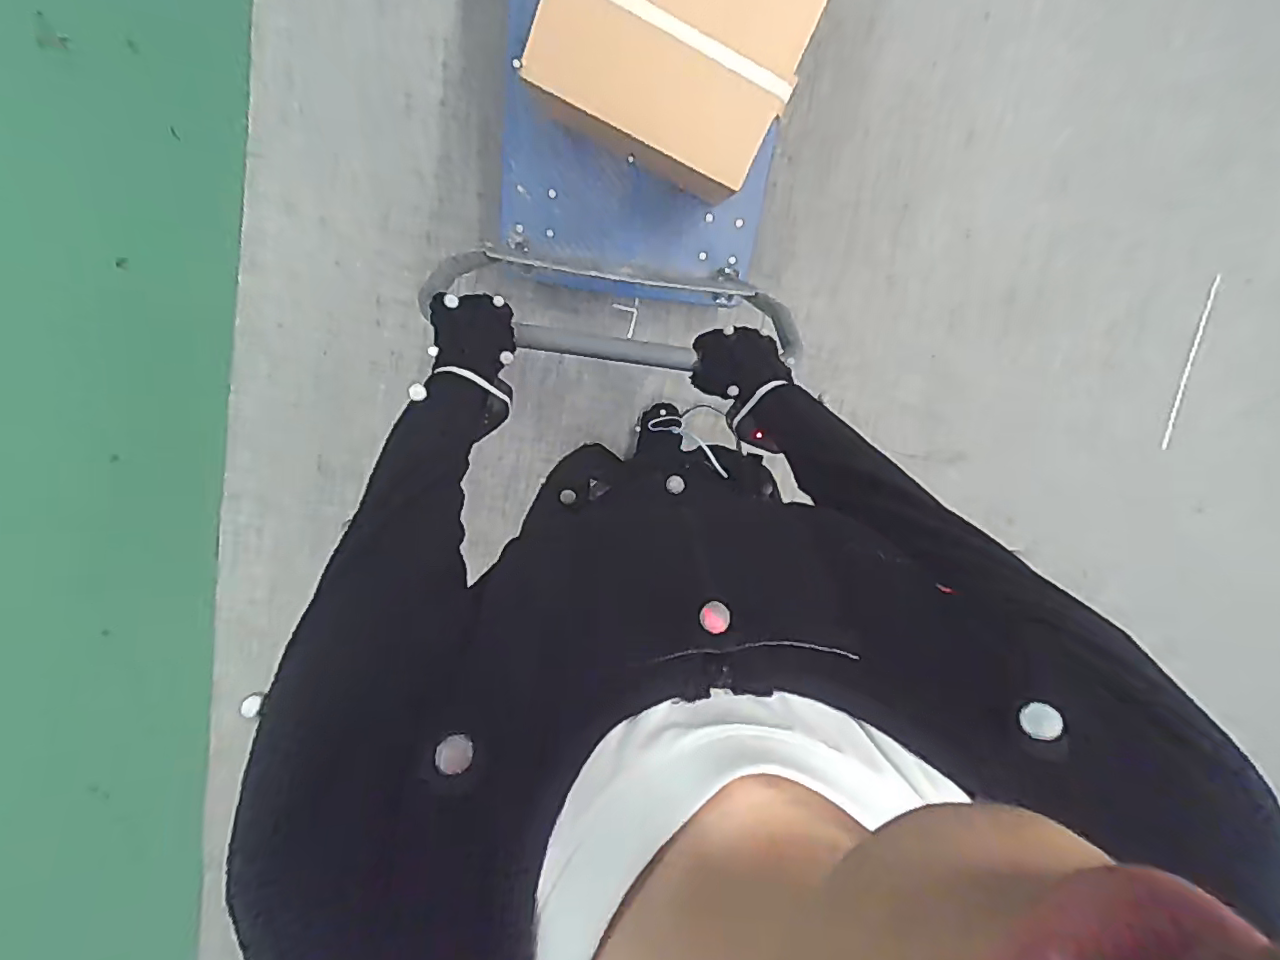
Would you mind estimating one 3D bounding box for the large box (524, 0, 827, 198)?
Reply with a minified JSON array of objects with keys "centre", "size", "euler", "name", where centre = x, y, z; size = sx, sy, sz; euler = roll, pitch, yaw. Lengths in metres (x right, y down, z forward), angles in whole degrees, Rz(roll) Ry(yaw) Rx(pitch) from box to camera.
[{"centre":[0.059,-0.756,0.976],"size":[0.408,0.320,0.320],"euler":[23,112,-8],"name":"large box"}]
